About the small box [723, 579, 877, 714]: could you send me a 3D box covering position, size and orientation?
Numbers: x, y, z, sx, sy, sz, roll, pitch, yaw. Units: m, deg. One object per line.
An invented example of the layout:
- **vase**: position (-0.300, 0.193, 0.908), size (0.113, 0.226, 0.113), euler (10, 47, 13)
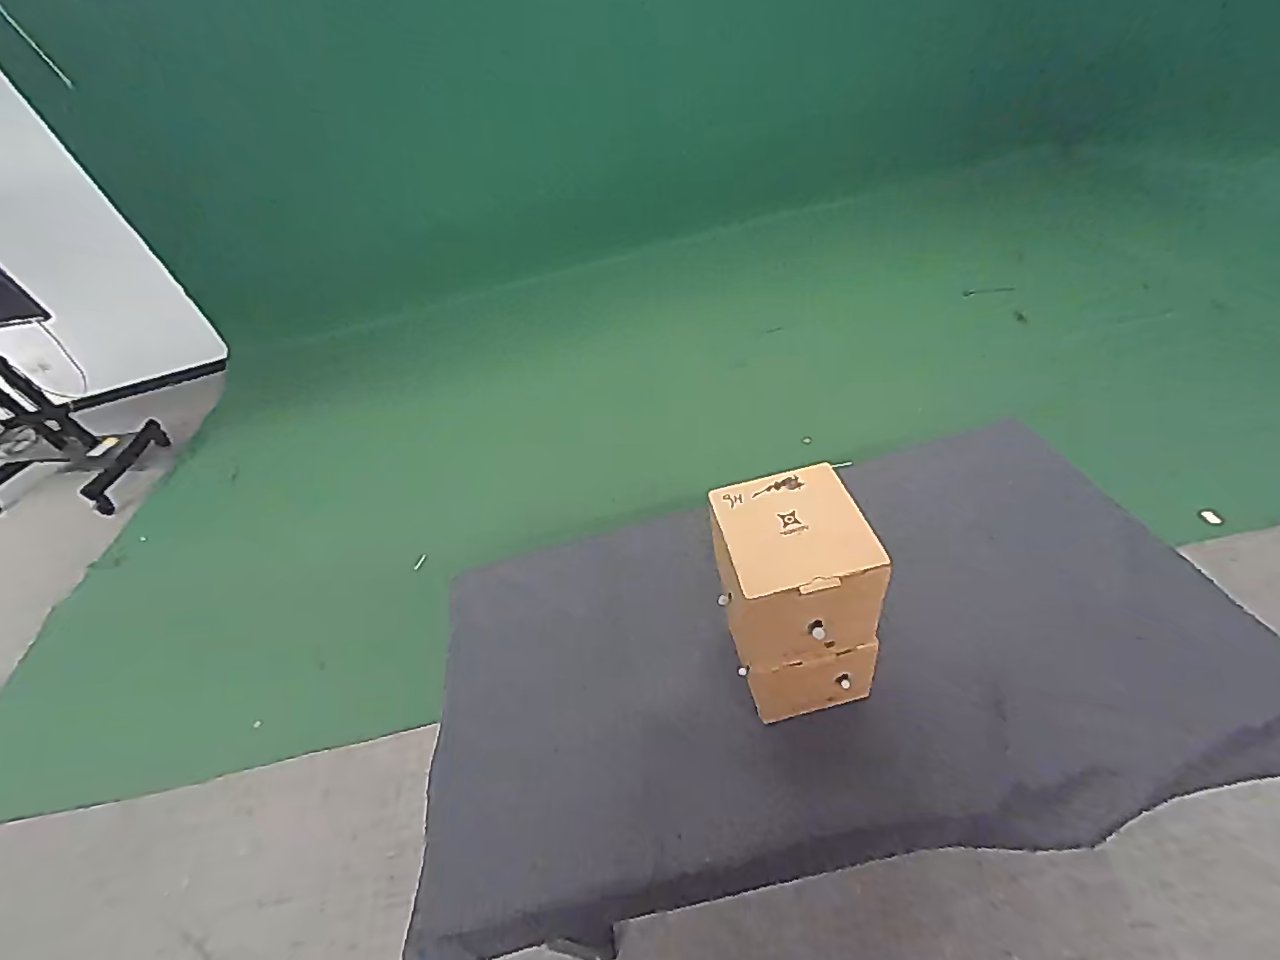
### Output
- **small box**: position (0.232, 0.230, 0.815), size (0.168, 0.176, 0.179), euler (-15, 43, 0)

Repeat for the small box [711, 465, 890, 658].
- **small box**: position (0.198, 0.113, 0.706), size (0.168, 0.176, 0.179), euler (-13, 45, 0)
